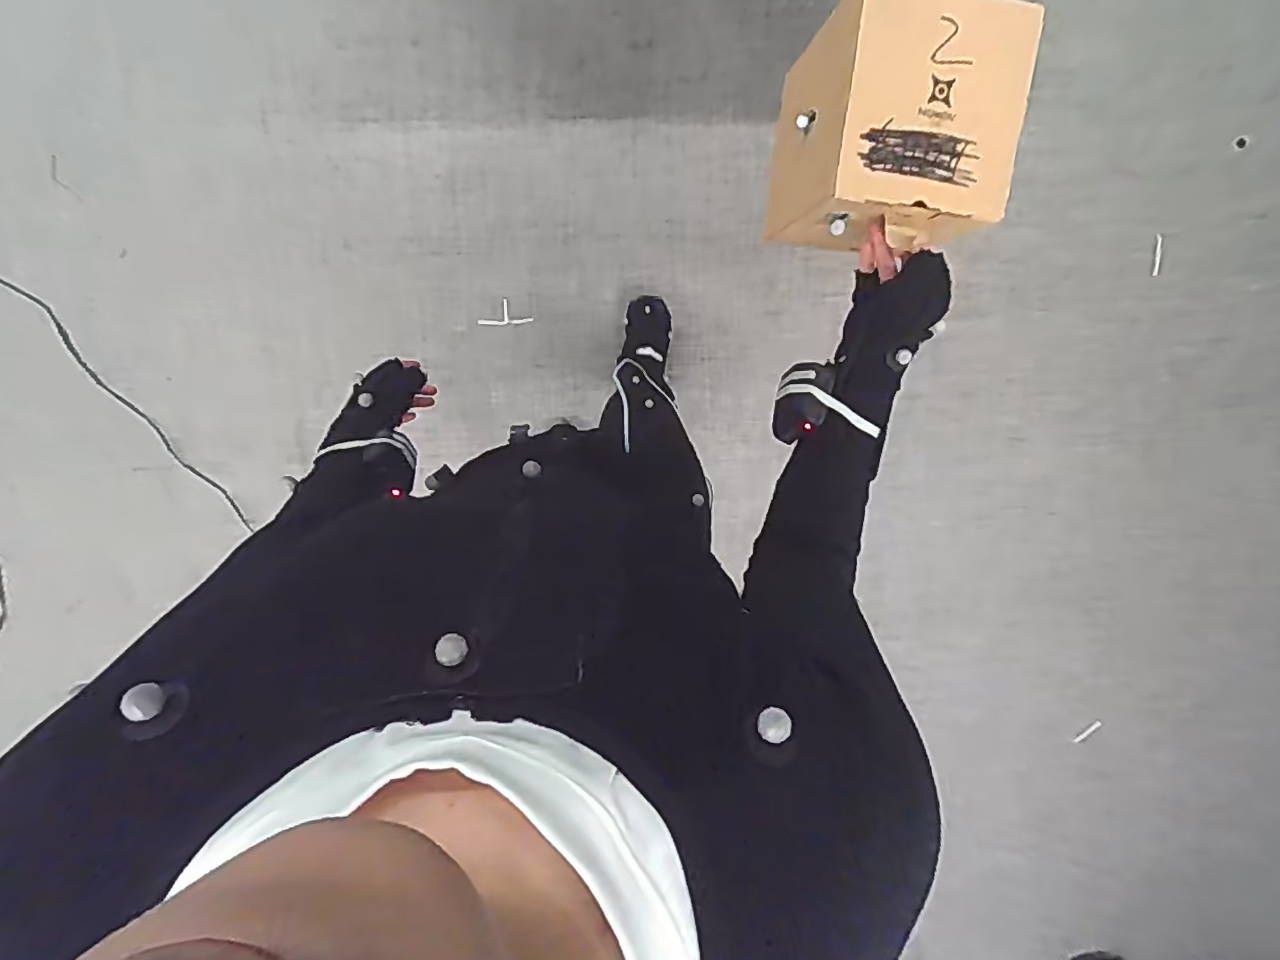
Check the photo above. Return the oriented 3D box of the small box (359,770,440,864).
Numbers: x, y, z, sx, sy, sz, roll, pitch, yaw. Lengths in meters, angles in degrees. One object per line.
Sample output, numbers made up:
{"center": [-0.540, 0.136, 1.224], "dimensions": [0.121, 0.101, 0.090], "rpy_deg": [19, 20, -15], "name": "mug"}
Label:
{"center": [-0.672, 0.944, 1.522], "dimensions": [0.179, 0.176, 0.168], "rpy_deg": [0, 100, -3], "name": "small box"}
